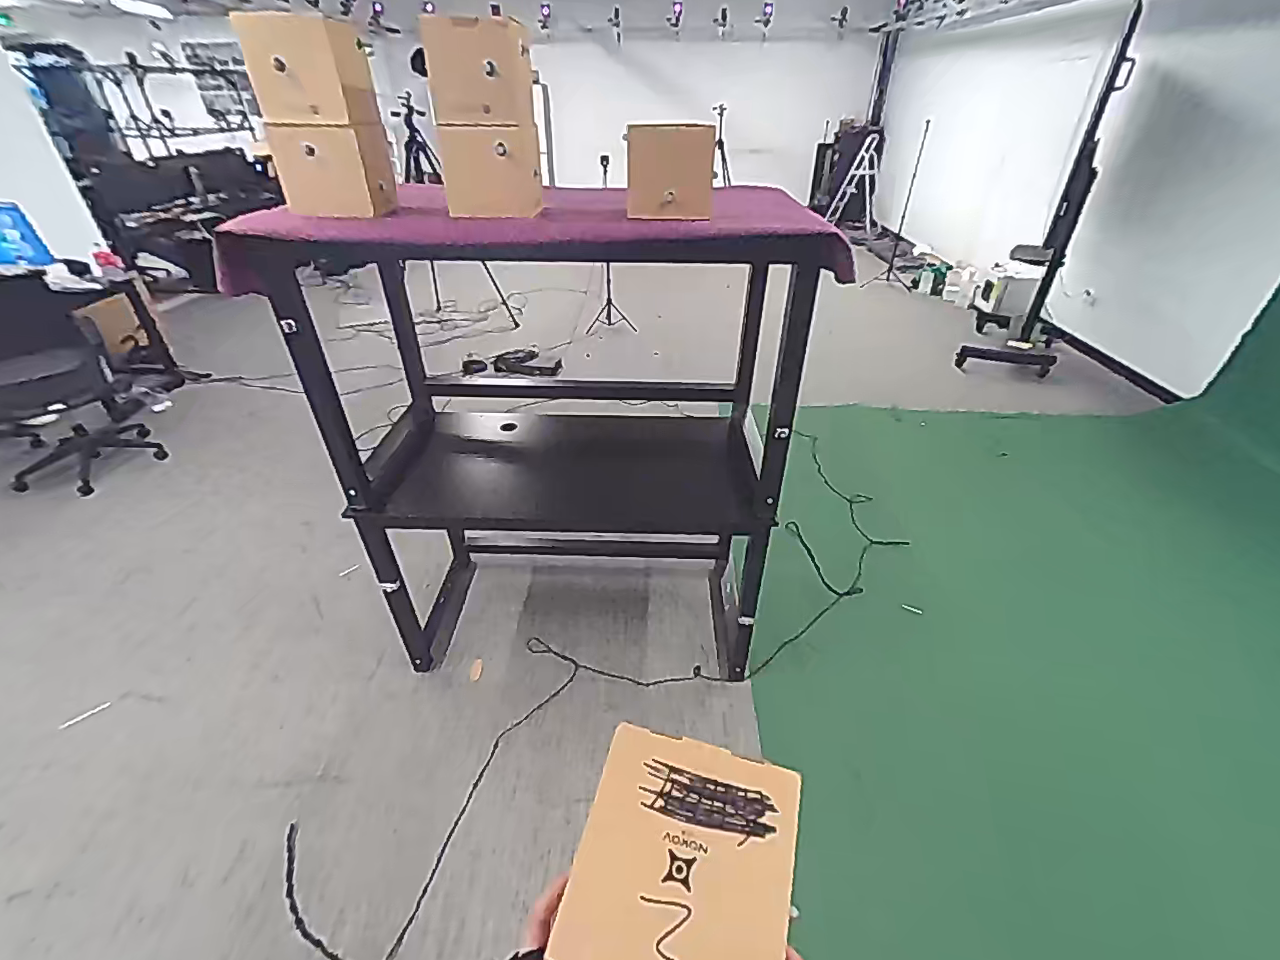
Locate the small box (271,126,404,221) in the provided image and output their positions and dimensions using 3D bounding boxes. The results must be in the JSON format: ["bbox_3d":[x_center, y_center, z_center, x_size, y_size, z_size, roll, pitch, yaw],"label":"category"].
[{"bbox_3d":[-0.636,-0.661,1.164,0.179,0.176,0.168,0,35,-2],"label":"small box"}]

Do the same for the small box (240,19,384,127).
[{"bbox_3d":[-0.635,-0.798,1.076,0.168,0.176,0.179,-1,34,-2],"label":"small box"}]

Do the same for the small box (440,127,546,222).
[{"bbox_3d":[-0.305,-0.661,1.167,0.179,0.176,0.168,1,34,2],"label":"small box"}]

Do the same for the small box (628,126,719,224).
[{"bbox_3d":[0.068,-0.651,1.154,0.179,0.176,0.168,2,33,2],"label":"small box"}]

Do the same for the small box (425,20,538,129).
[{"bbox_3d":[-0.305,-0.800,1.082,0.168,0.176,0.179,2,34,1],"label":"small box"}]
